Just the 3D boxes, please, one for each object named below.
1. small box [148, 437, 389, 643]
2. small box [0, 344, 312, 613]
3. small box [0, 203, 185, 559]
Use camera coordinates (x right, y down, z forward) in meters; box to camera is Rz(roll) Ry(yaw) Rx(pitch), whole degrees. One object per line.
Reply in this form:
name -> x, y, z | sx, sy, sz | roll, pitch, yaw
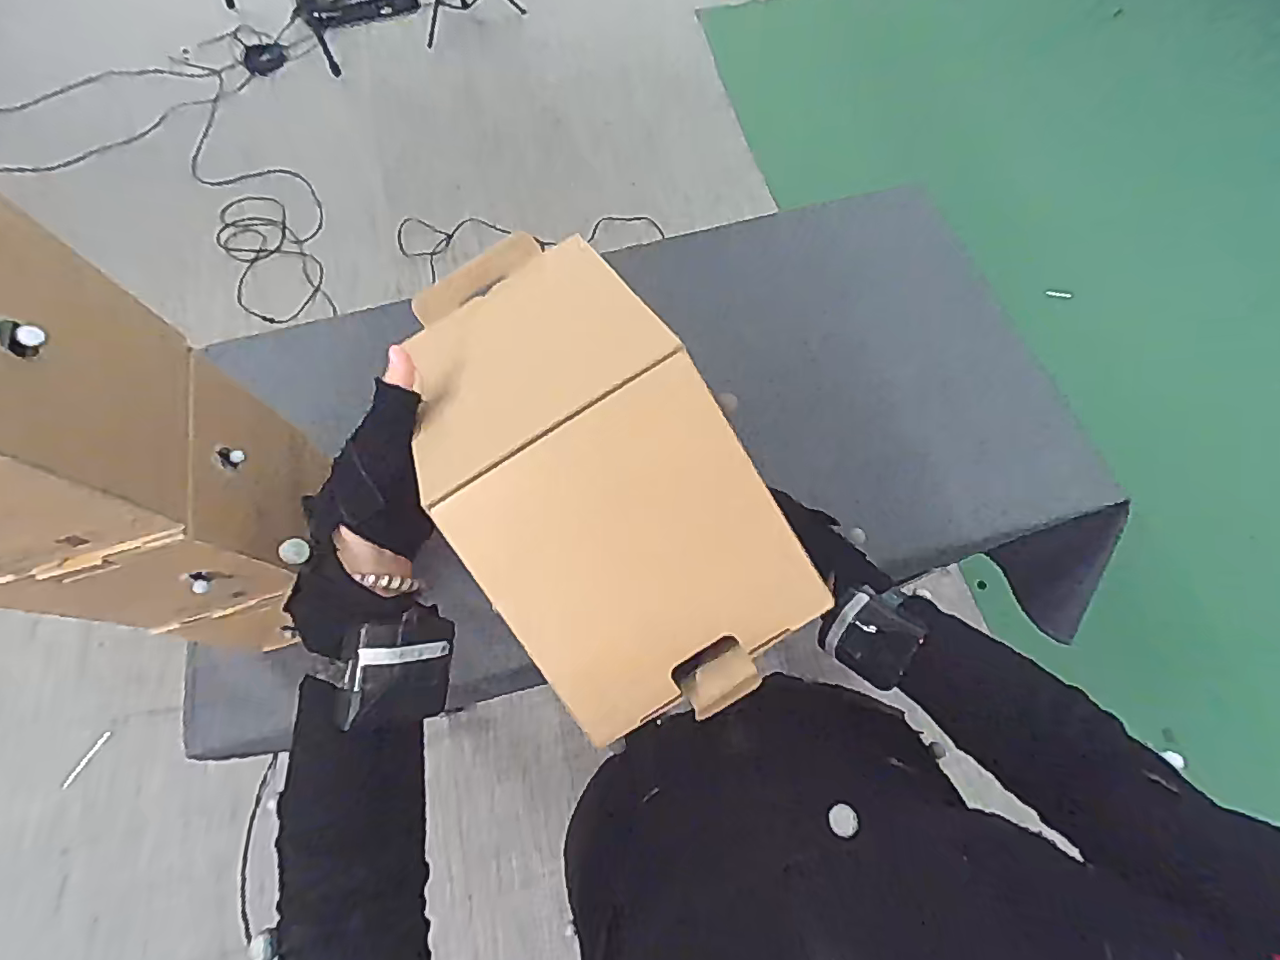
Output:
small box -> -0.420, 0.078, 0.637 | 0.168, 0.176, 0.179 | -16, 68, -4
small box -> -0.425, 0.013, 0.488 | 0.168, 0.176, 0.179 | -15, 68, -5
small box -> -0.432, -0.055, 0.339 | 0.168, 0.176, 0.179 | -16, 68, -6
